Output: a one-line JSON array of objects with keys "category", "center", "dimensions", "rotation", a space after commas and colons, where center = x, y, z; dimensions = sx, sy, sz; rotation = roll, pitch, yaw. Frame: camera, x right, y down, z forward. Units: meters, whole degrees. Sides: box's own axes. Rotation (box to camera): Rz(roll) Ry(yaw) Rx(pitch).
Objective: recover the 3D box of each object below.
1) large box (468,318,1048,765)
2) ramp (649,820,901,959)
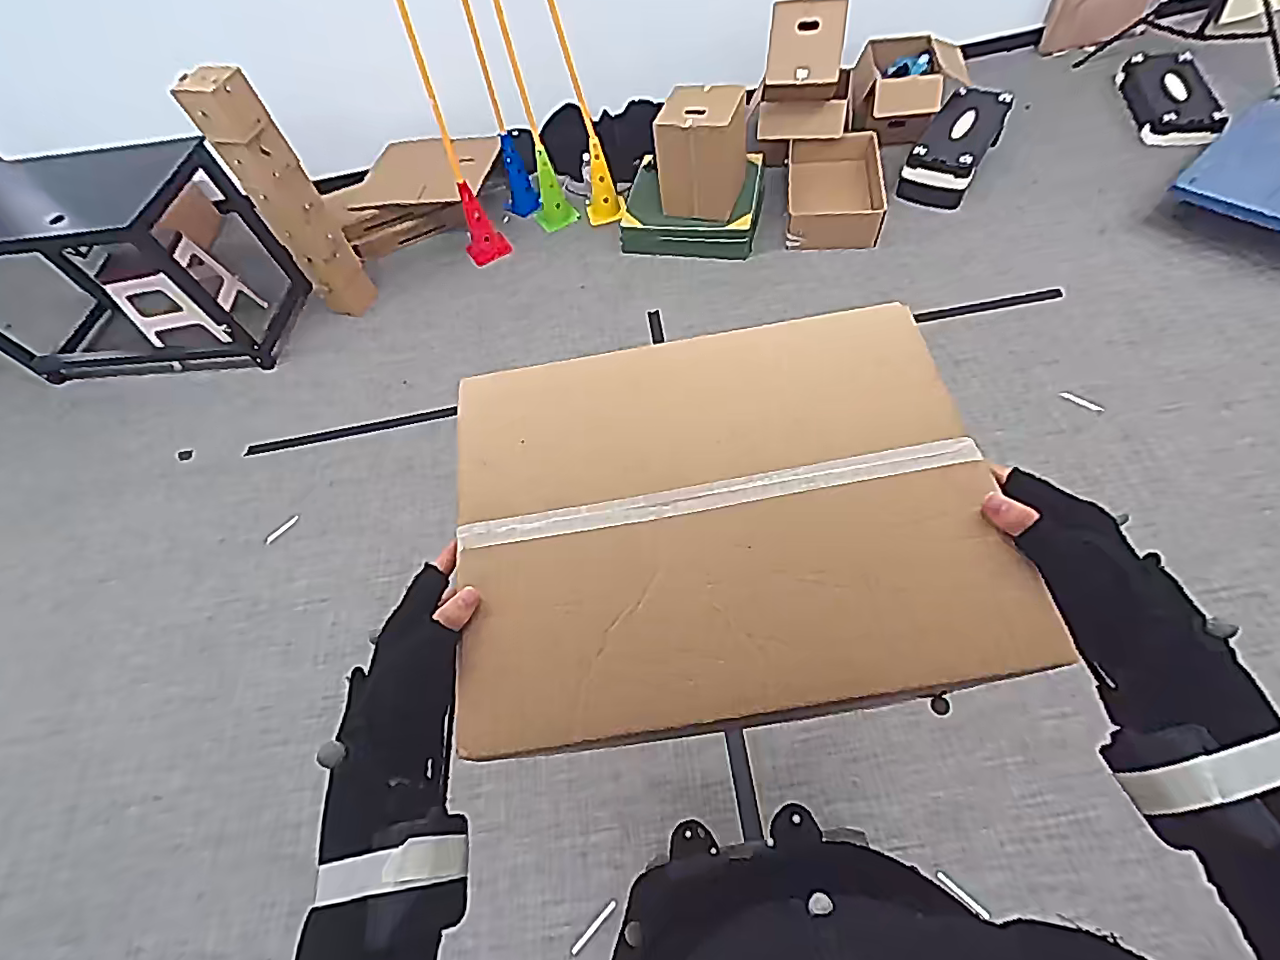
[{"category": "large box", "center": [0.075, 0.086, 0.563], "dimensions": [0.408, 0.320, 0.320], "rotation": [-10, 63, 2]}, {"category": "ramp", "center": [0.334, 1.249, 1.022], "dimensions": [0.509, 0.206, 0.991], "rotation": [-11, 58, 0]}]
